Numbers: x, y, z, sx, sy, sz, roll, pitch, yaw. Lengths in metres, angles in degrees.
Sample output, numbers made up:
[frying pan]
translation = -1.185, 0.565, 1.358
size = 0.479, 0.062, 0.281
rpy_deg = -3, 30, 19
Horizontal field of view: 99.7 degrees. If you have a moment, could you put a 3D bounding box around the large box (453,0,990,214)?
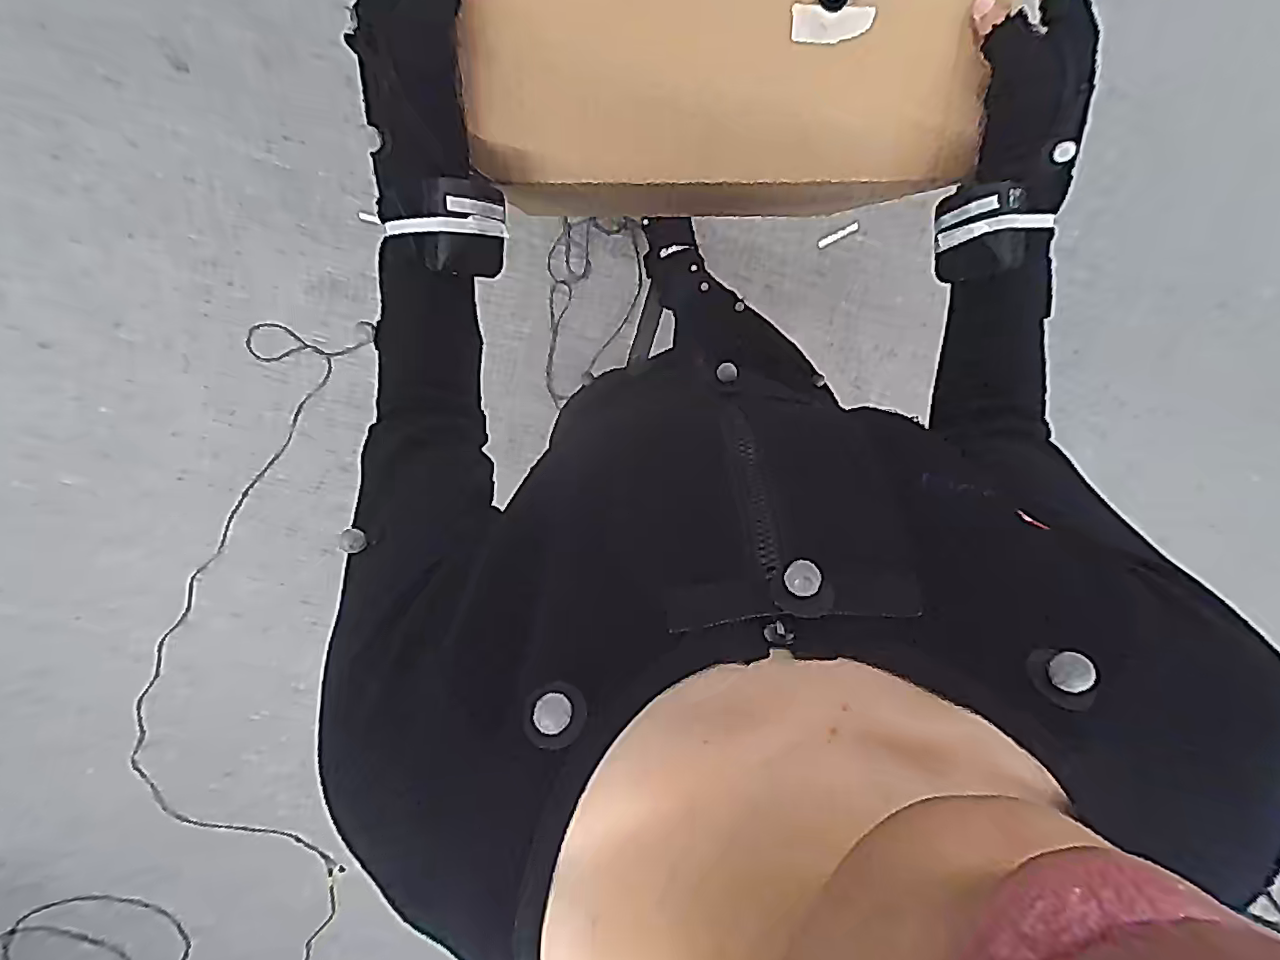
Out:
[large box]
translation = 0.052, -0.446, 0.516
size = 0.408, 0.320, 0.320
rpy_deg = -2, 112, -3
